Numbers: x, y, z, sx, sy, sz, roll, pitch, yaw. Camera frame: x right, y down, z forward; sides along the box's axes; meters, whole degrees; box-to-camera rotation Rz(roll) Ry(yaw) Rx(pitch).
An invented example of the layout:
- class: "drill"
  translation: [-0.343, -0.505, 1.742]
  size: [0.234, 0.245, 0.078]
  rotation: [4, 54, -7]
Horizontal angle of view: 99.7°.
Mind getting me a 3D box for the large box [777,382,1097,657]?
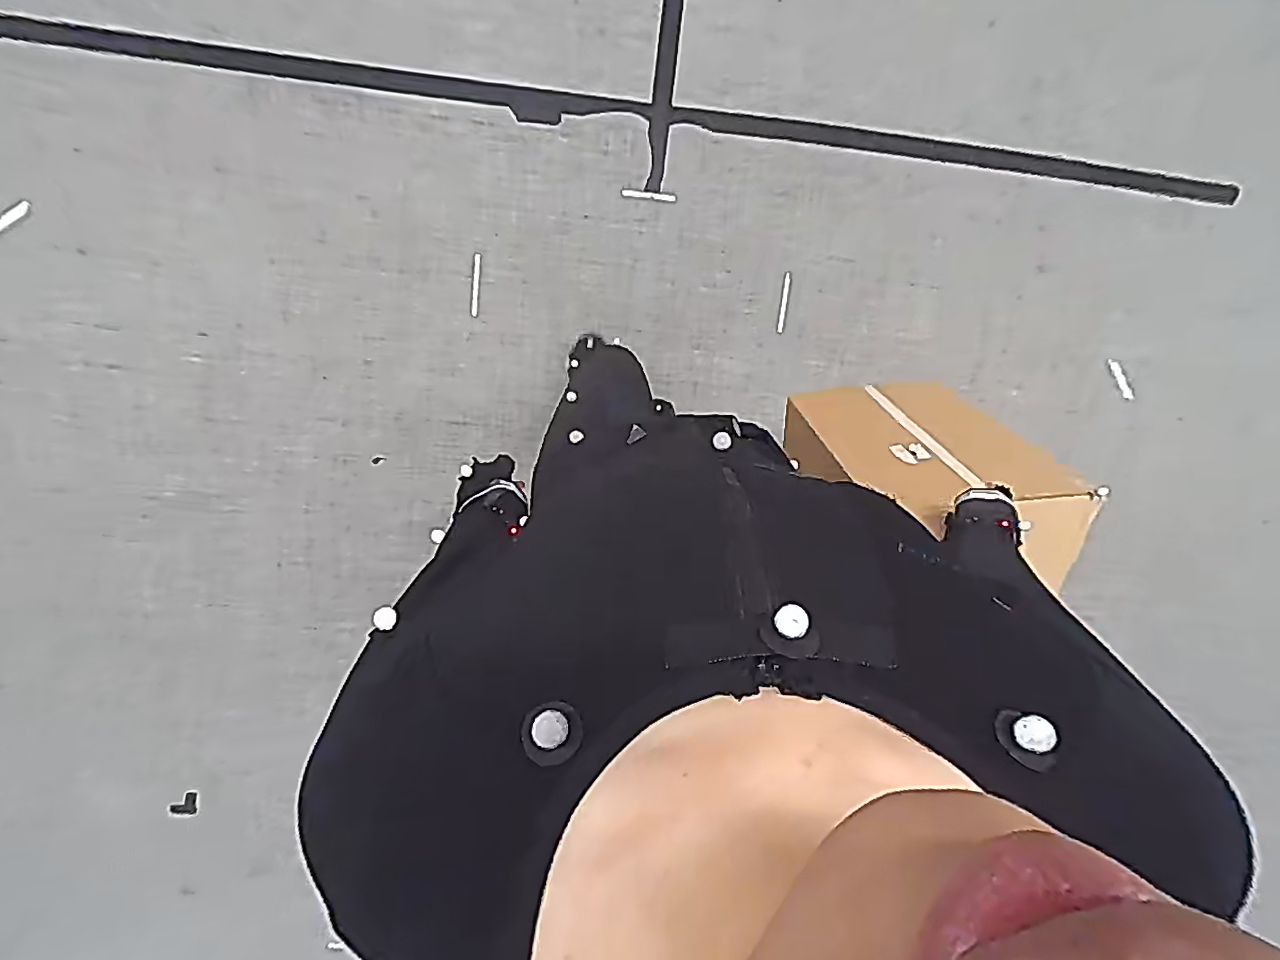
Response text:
- class: "large box"
  translation: [0.469, 0.052, 0.984]
  size: [0.320, 0.408, 0.320]
  rotation: [-6, 124, -2]
